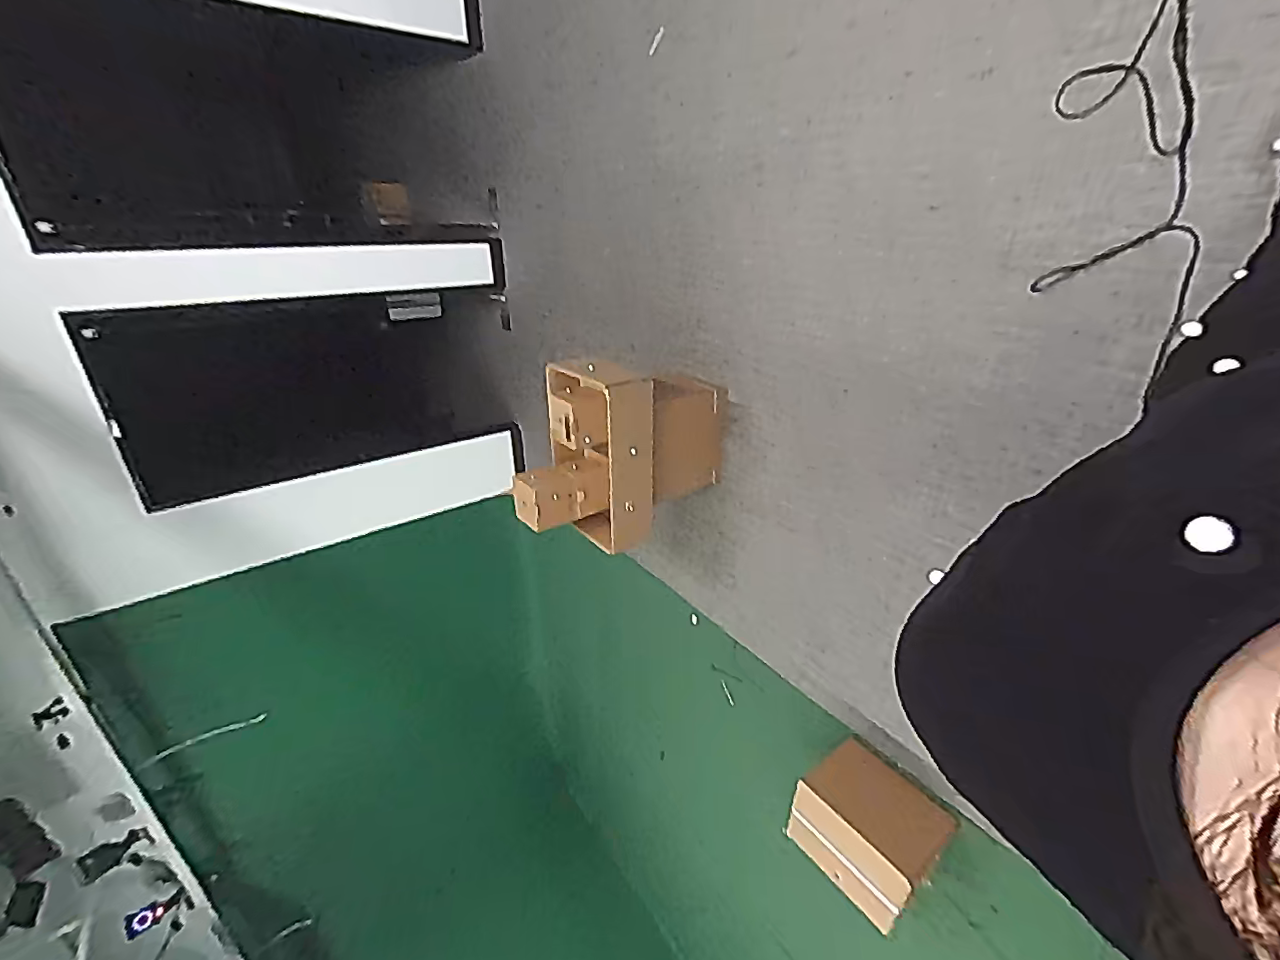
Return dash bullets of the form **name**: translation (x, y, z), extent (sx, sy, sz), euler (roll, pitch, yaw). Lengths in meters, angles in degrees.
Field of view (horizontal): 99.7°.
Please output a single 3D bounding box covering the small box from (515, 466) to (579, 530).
- **small box**: translation (-0.331, 0.059, 1.964), extent (0.179, 0.176, 0.168), euler (26, 124, 49)
